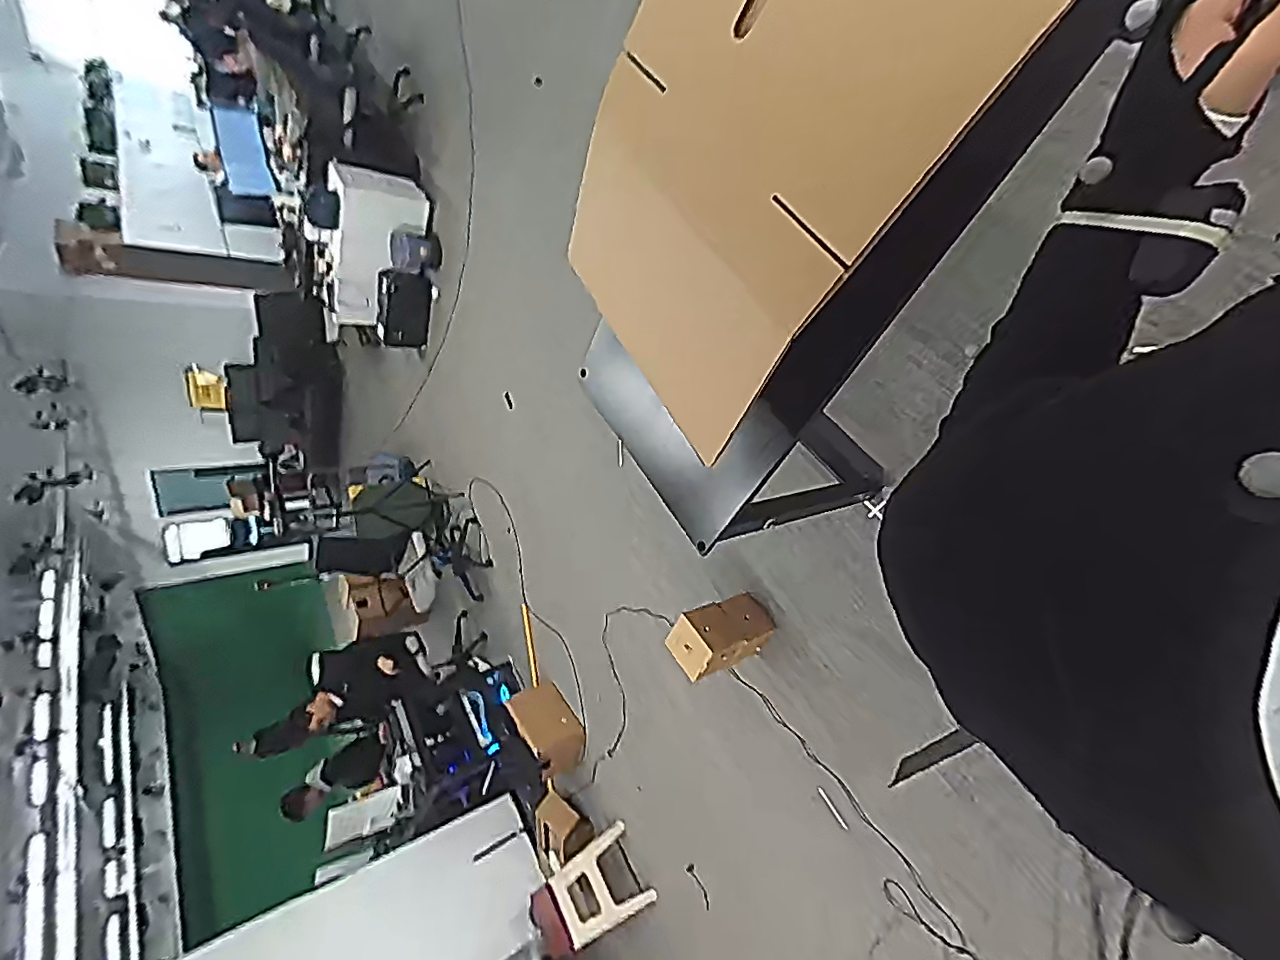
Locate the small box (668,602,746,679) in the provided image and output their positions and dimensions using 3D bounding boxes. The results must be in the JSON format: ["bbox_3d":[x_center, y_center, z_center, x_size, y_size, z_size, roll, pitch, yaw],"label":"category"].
[{"bbox_3d":[0.232,0.548,1.870,0.179,0.176,0.168,50,131,34],"label":"small box"}]

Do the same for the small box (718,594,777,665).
[{"bbox_3d":[0.361,0.534,1.968,0.179,0.176,0.168,52,132,31],"label":"small box"}]
